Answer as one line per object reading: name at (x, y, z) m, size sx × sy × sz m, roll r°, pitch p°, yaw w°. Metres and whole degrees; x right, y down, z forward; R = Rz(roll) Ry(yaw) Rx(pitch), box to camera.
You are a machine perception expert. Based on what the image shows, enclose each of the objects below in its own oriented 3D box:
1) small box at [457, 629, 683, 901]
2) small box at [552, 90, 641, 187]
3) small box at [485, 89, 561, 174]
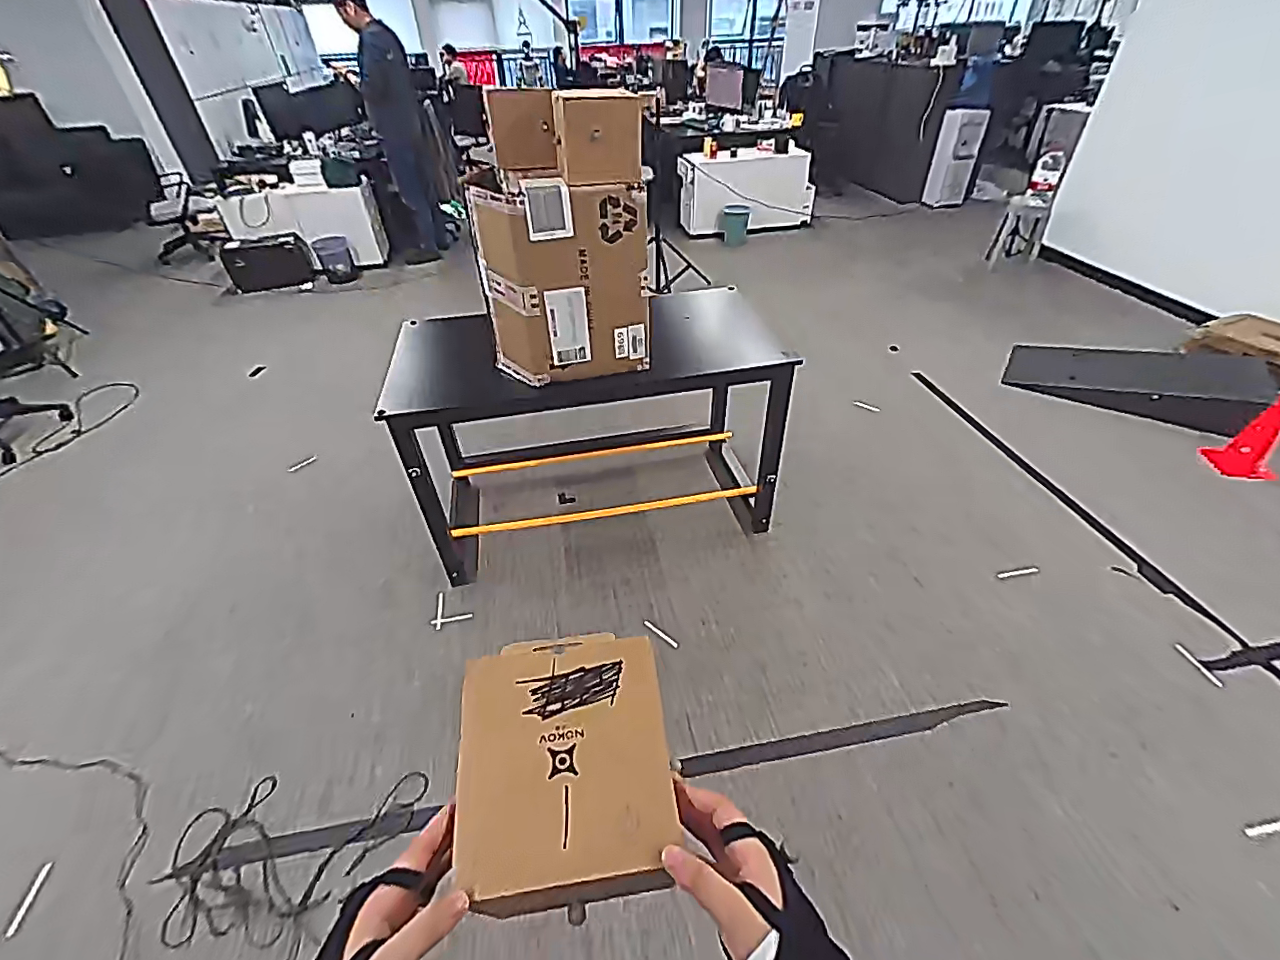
small box at (-0.060, 0.263, 0.501) m, size 0.168 × 0.176 × 0.179 m, roll -6°, pitch 49°, yaw -5°
small box at (-0.101, -0.799, 1.267) m, size 0.179 × 0.176 × 0.168 m, roll -10°, pitch 43°, yaw -11°
small box at (-0.295, -0.901, 1.394) m, size 0.179 × 0.176 × 0.168 m, roll -10°, pitch 38°, yaw -11°
